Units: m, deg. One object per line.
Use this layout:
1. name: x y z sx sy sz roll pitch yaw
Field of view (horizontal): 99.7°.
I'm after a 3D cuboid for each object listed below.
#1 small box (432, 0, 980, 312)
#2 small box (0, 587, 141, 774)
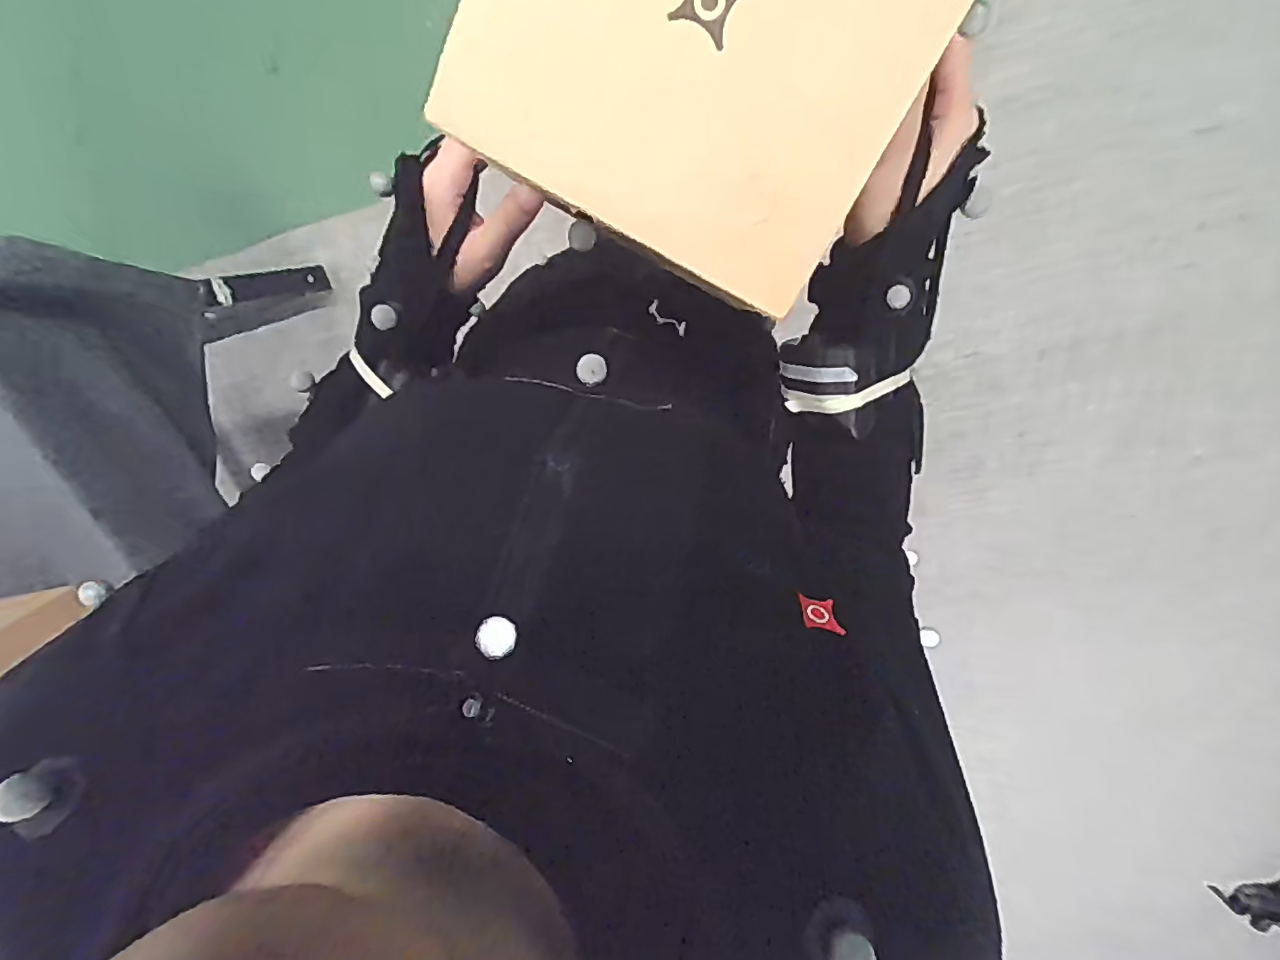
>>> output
1. small box: 0.036 -0.200 0.261 0.168 0.176 0.179 27 108 -5
2. small box: -0.848 0.266 0.723 0.179 0.176 0.168 -11 115 10
